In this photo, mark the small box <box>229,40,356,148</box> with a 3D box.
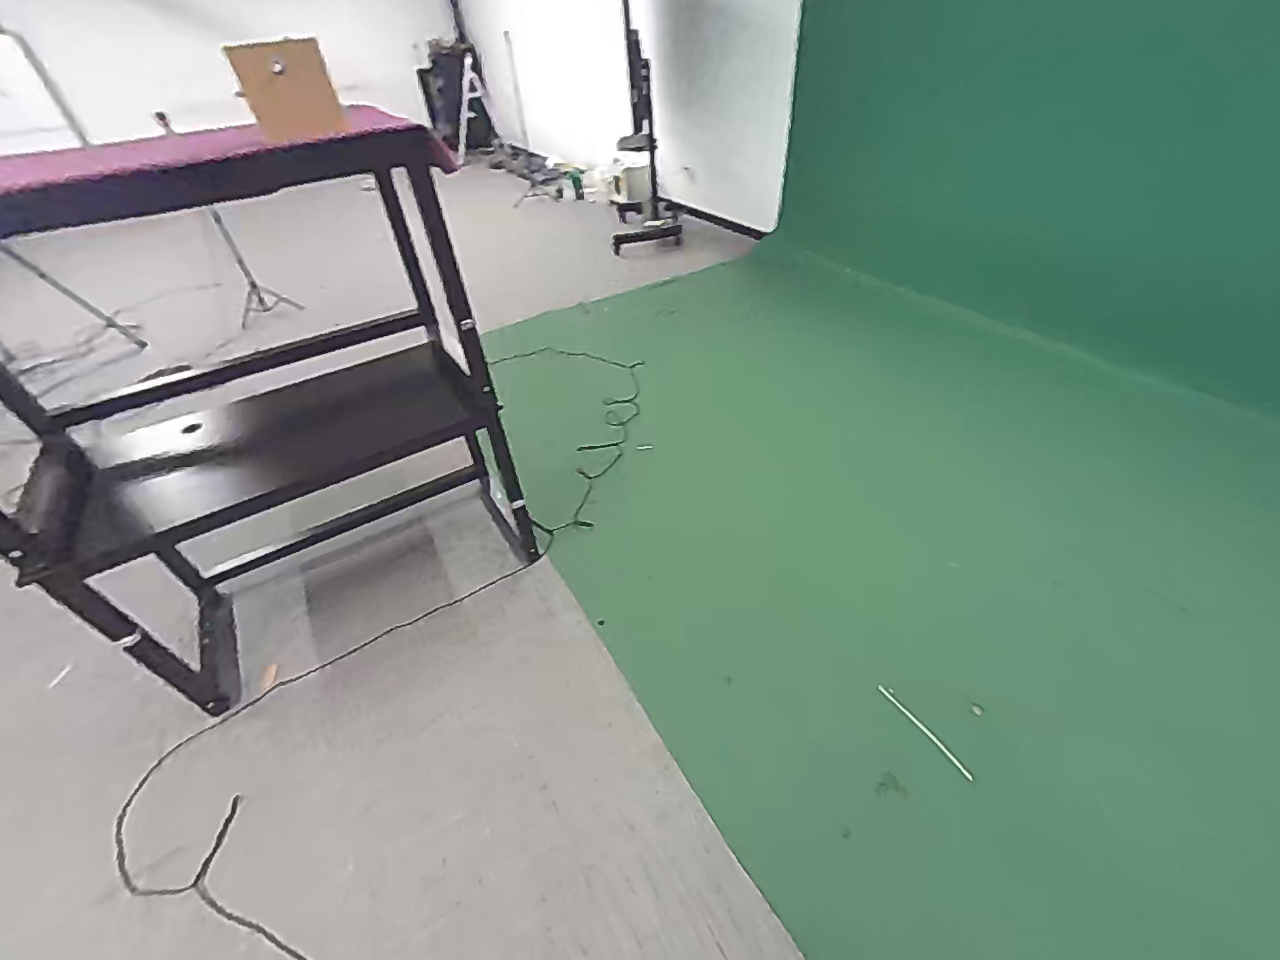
[{"bbox_3d":[-0.752,-0.842,1.183,0.179,0.176,0.168,-23,43,-18],"label":"small box"}]
